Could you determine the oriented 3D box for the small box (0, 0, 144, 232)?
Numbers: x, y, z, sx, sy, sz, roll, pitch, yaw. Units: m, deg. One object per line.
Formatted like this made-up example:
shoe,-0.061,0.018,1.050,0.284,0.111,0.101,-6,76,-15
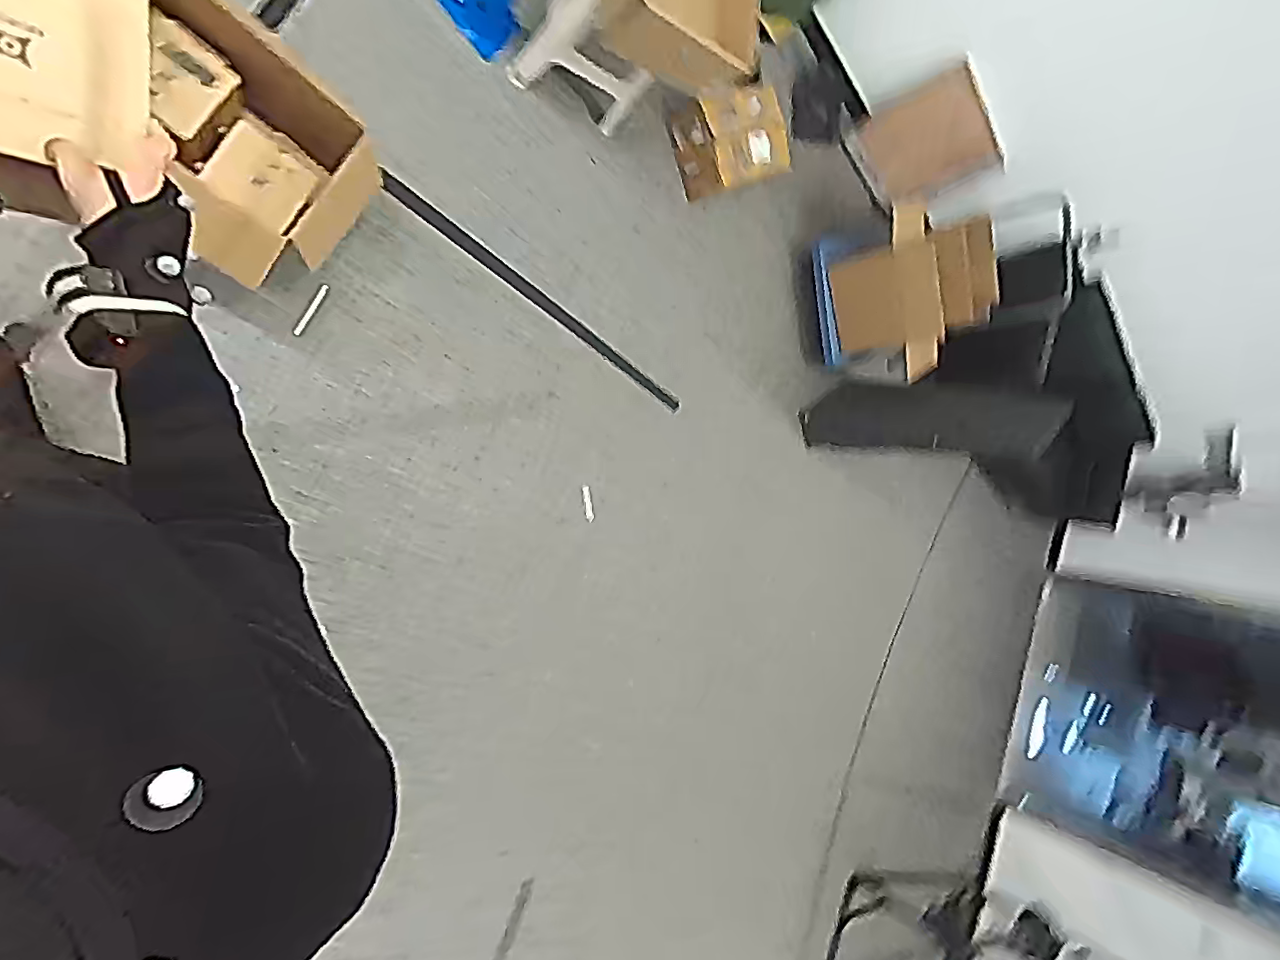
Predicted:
small box,-0.561,-0.349,0.475,0.168,0.176,0.179,-3,95,-48
